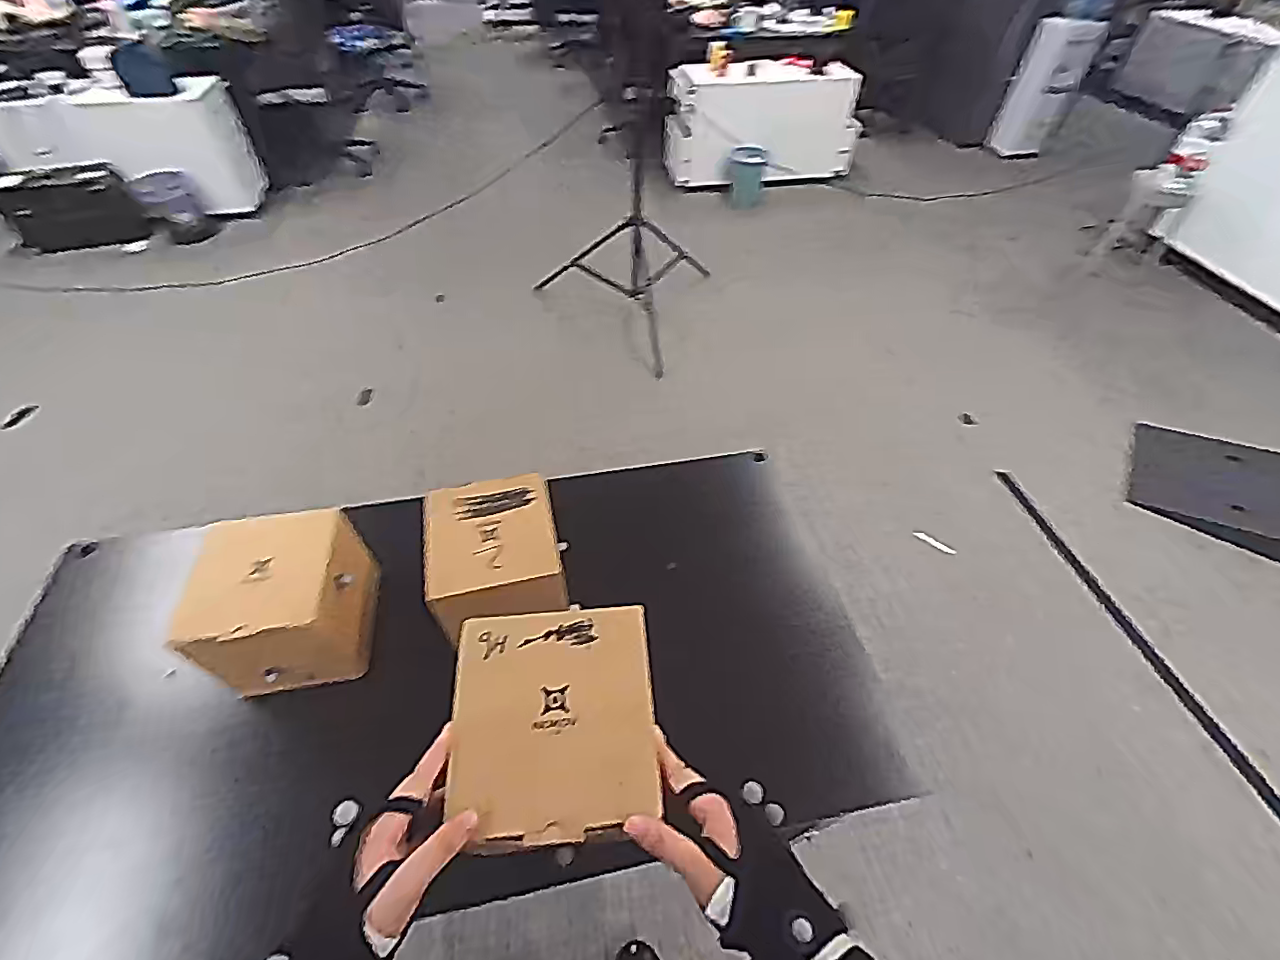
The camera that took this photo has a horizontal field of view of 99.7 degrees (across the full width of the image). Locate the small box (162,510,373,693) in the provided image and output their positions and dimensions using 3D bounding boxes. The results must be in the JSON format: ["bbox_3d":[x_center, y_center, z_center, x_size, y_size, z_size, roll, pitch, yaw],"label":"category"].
[{"bbox_3d":[-0.485,0.167,0.742,0.168,0.176,0.179,-8,51,-8],"label":"small box"}]

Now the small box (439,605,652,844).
[{"bbox_3d":[-0.077,0.237,0.517,0.168,0.176,0.179,-3,55,-4],"label":"small box"}]
